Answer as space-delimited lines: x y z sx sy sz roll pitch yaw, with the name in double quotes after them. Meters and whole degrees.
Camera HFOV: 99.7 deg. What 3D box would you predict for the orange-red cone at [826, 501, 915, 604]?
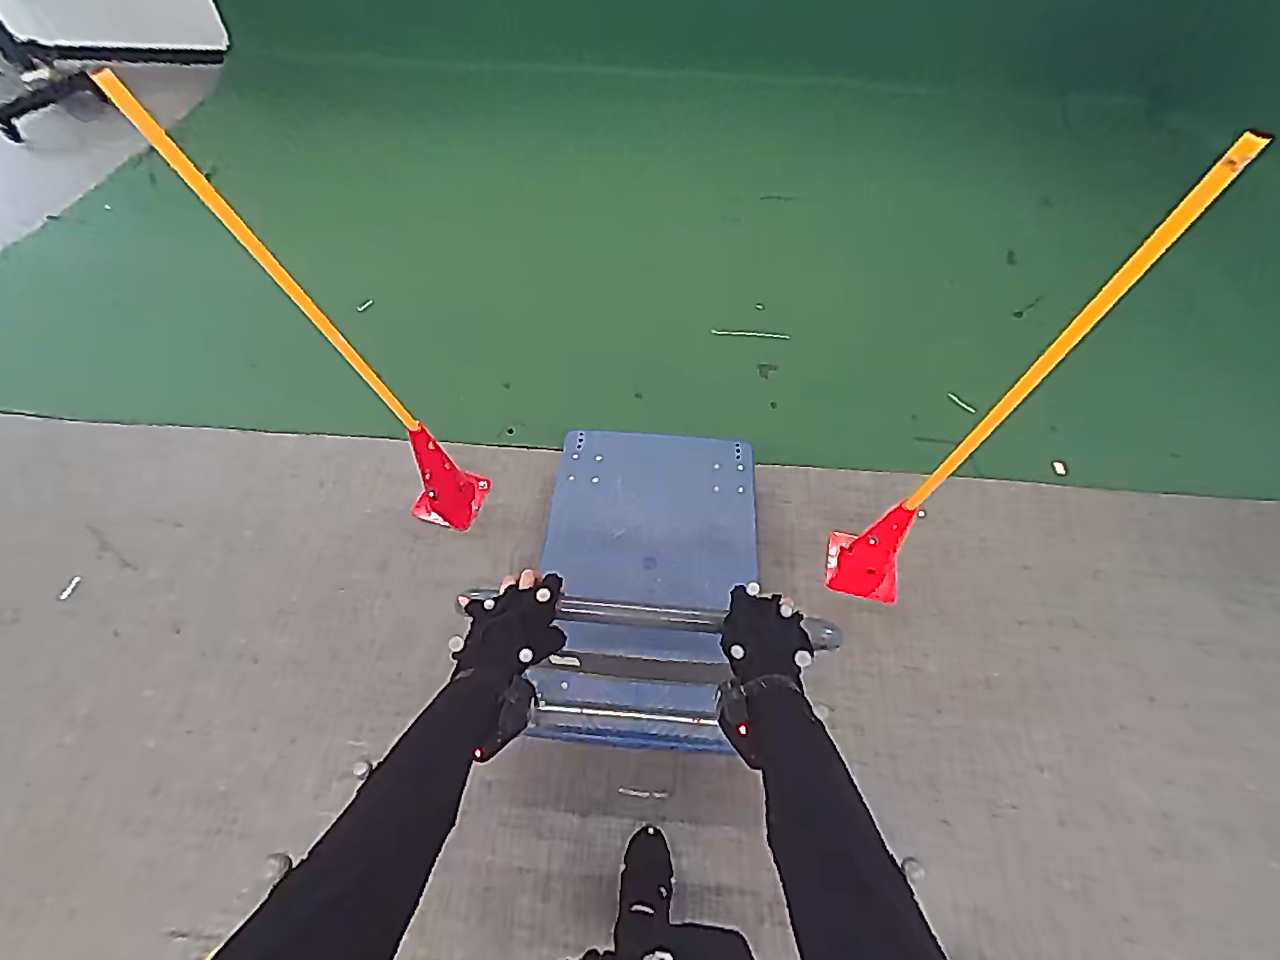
0.661 0.167 1.473 0.198 0.360 0.199 13 57 9 "orange-red cone"
